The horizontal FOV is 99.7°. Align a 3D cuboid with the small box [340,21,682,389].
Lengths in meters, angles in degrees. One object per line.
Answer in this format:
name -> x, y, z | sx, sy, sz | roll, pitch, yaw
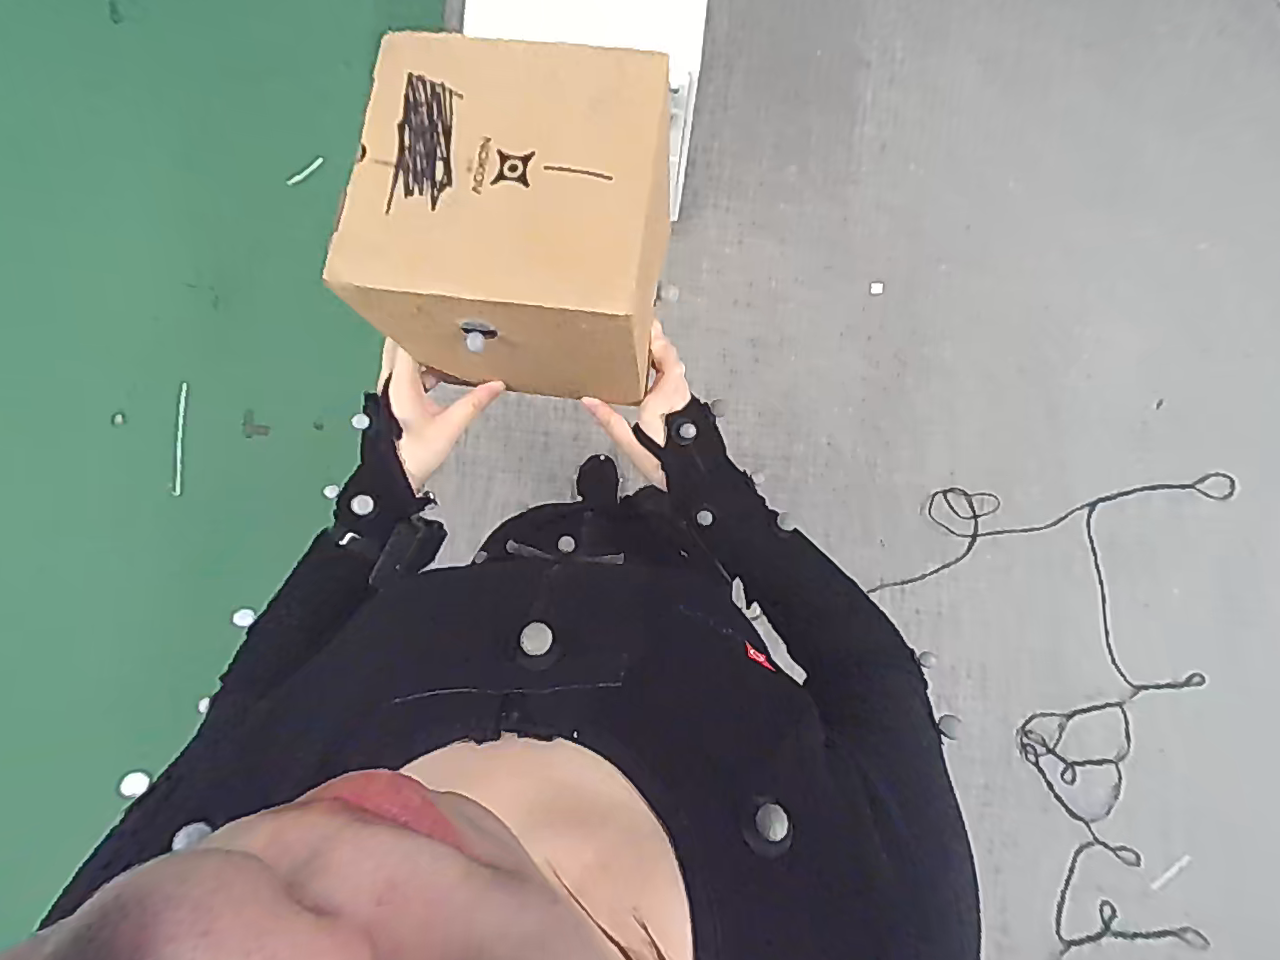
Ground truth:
small box -> -0.070, -0.175, 0.390 | 0.179, 0.176, 0.168 | 8, 82, 3
